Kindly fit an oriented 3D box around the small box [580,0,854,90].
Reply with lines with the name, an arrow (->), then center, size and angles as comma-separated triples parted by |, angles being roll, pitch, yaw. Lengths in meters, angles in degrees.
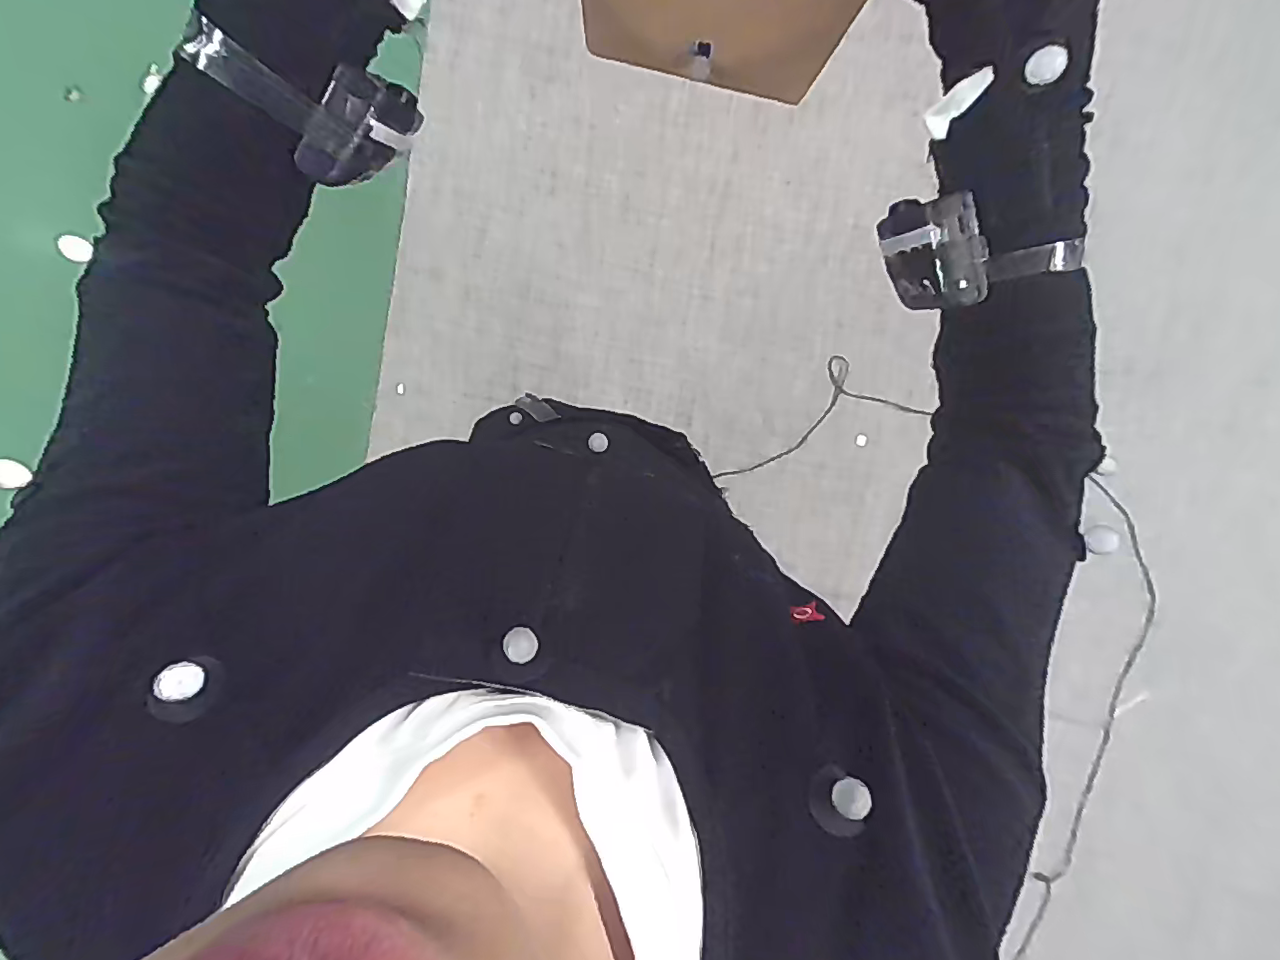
small box -> 0.061, -0.384, 0.334 | 0.179, 0.176, 0.168 | 10, 98, -5
